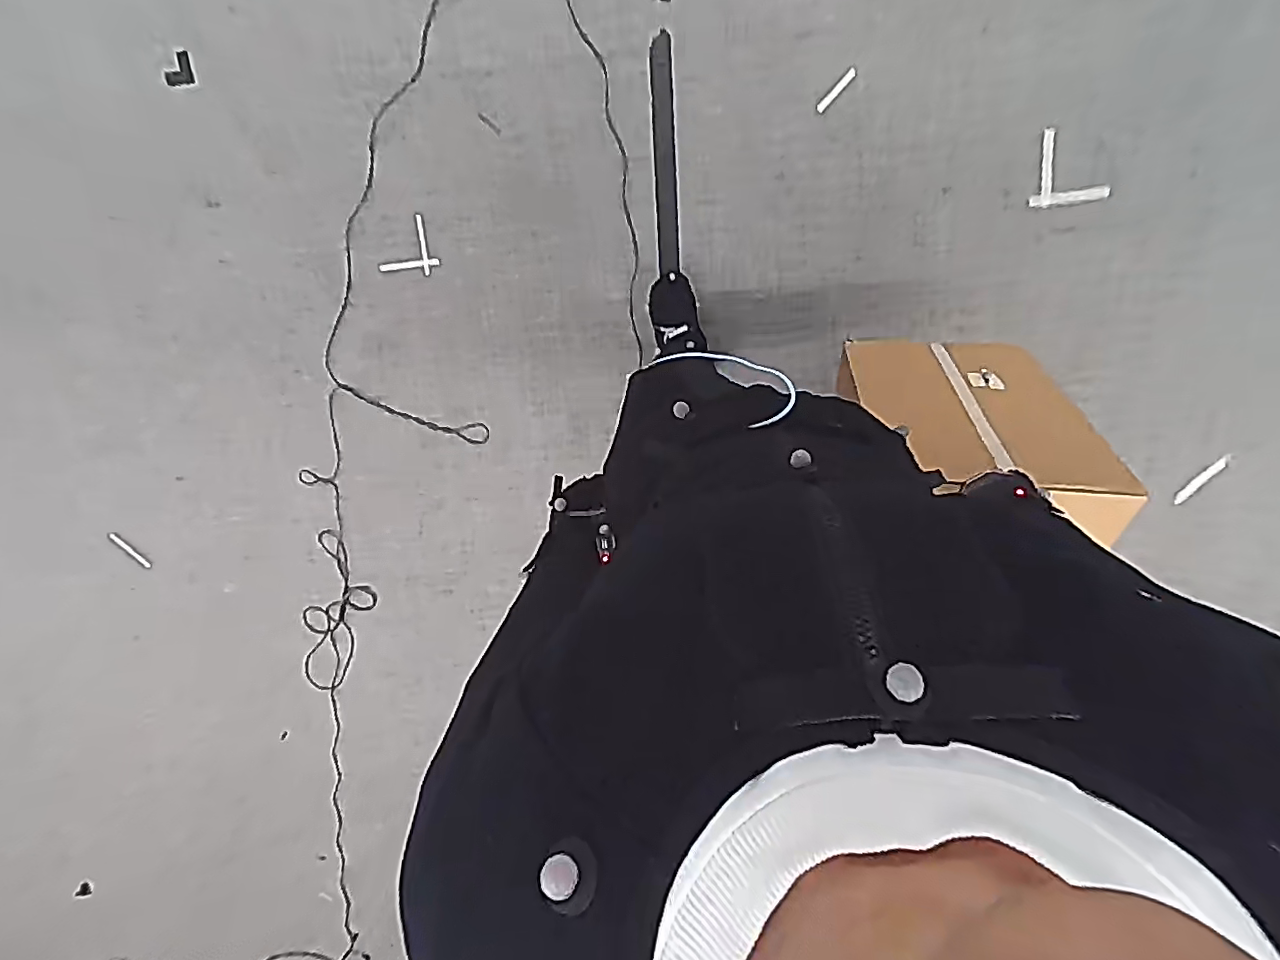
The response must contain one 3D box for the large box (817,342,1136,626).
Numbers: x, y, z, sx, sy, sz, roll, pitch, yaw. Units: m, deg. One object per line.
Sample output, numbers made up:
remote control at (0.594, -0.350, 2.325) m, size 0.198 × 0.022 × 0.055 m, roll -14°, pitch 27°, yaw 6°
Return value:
large box at (0.507, -0.006, 0.939) m, size 0.320 × 0.408 × 0.320 m, roll 4°, pitch 130°, yaw 7°
